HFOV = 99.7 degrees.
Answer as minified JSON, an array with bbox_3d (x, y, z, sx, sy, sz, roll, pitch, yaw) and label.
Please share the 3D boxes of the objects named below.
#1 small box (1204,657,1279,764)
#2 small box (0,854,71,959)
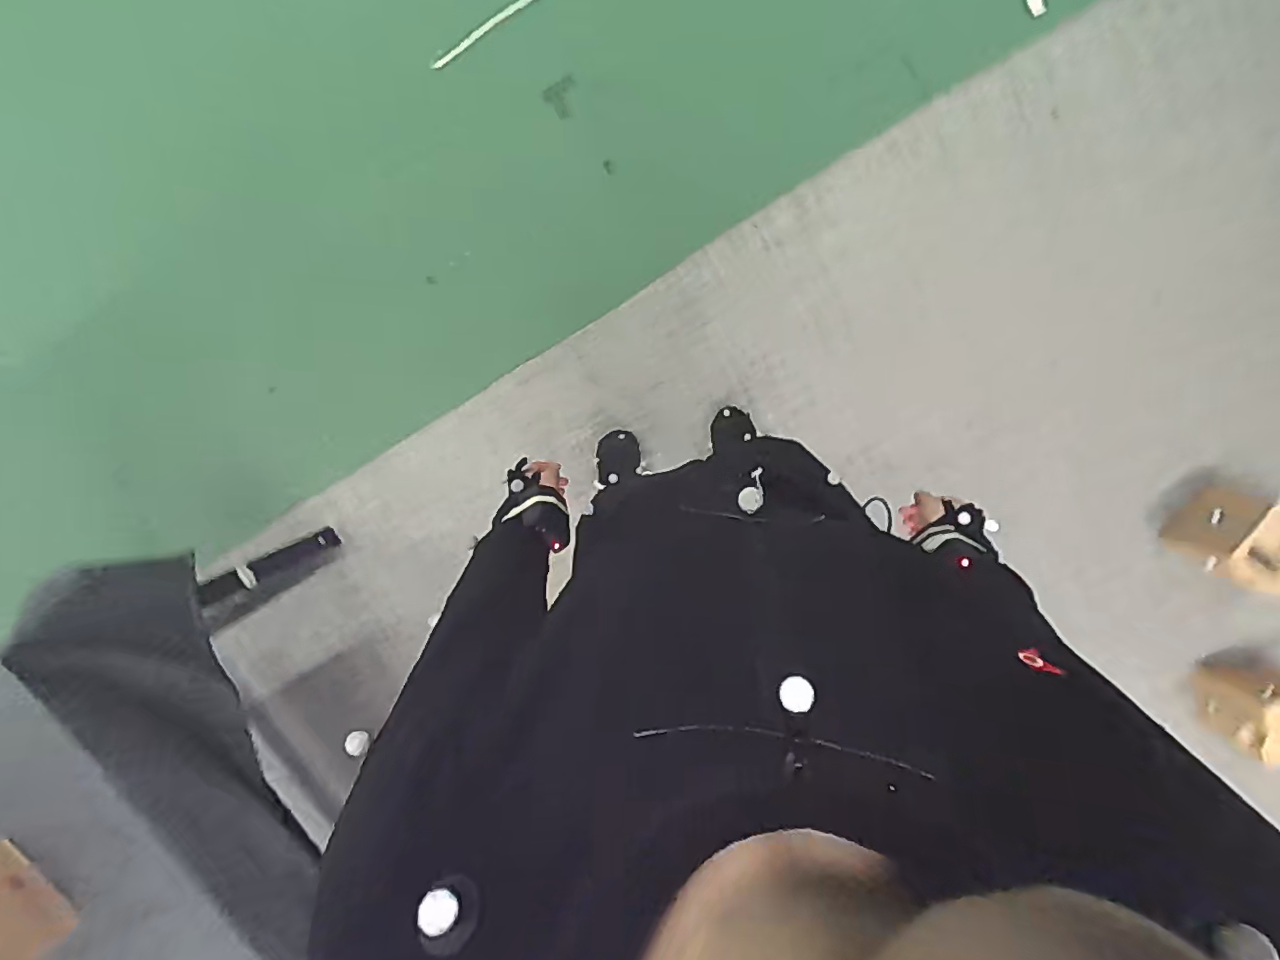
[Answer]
[{"bbox_3d":[1.553,0.554,1.323,0.179,0.176,0.168,-11,100,4],"label":"small box"},{"bbox_3d":[-0.897,0.628,0.683,0.179,0.176,0.168,-33,97,8],"label":"small box"}]
